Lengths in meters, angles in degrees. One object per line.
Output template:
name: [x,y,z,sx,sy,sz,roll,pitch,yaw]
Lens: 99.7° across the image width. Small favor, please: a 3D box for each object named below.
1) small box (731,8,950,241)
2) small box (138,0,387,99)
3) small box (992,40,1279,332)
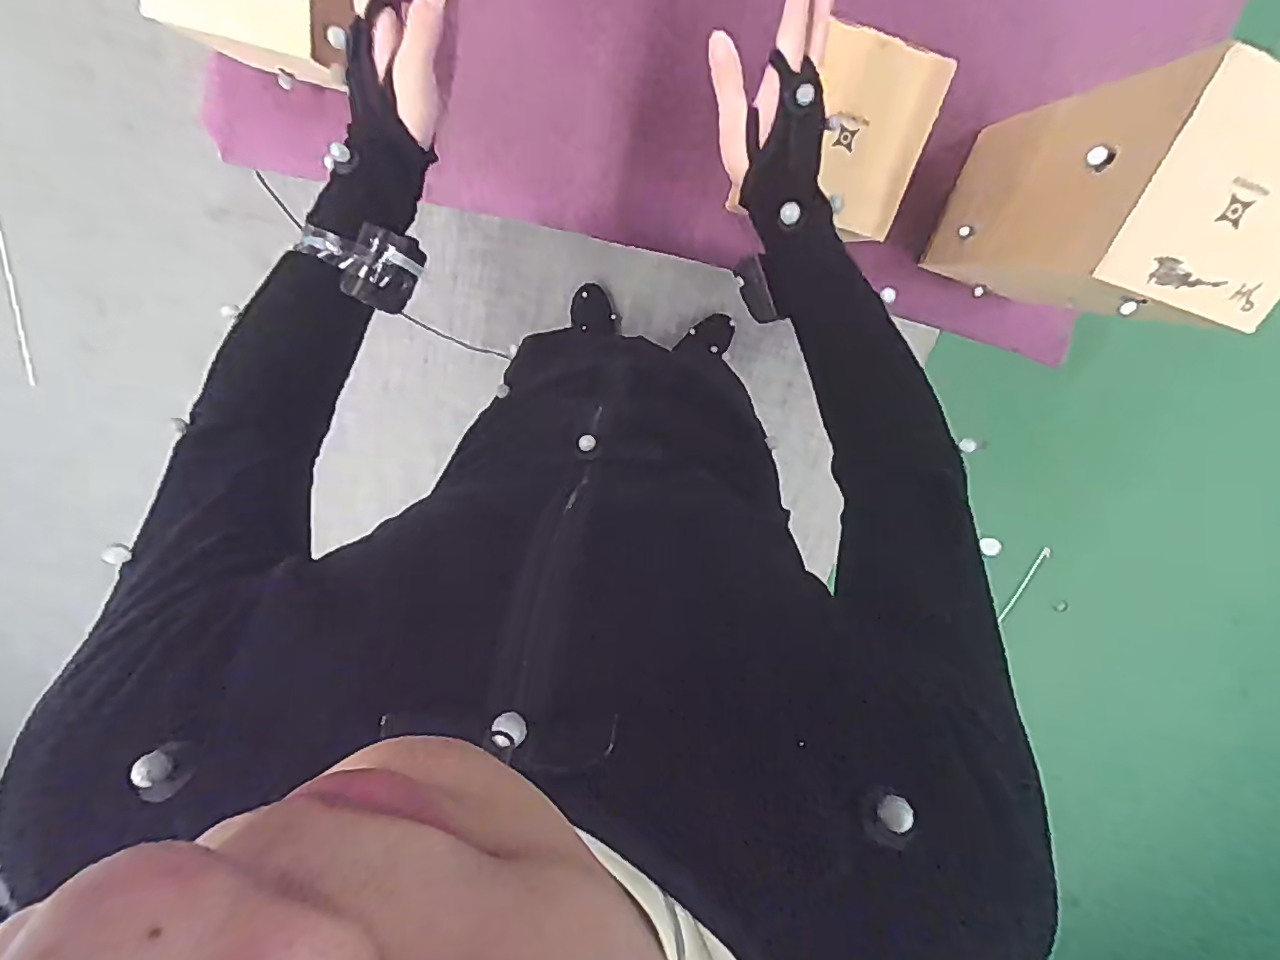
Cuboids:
small box: [0.215,-0.395,0.641,0.168,0.176,0.179,14,111,-5]
small box: [-0.390,-0.548,0.578,0.168,0.176,0.179,13,112,-5]
small box: [0.487,-0.259,0.515,0.168,0.176,0.179,17,111,-5]
